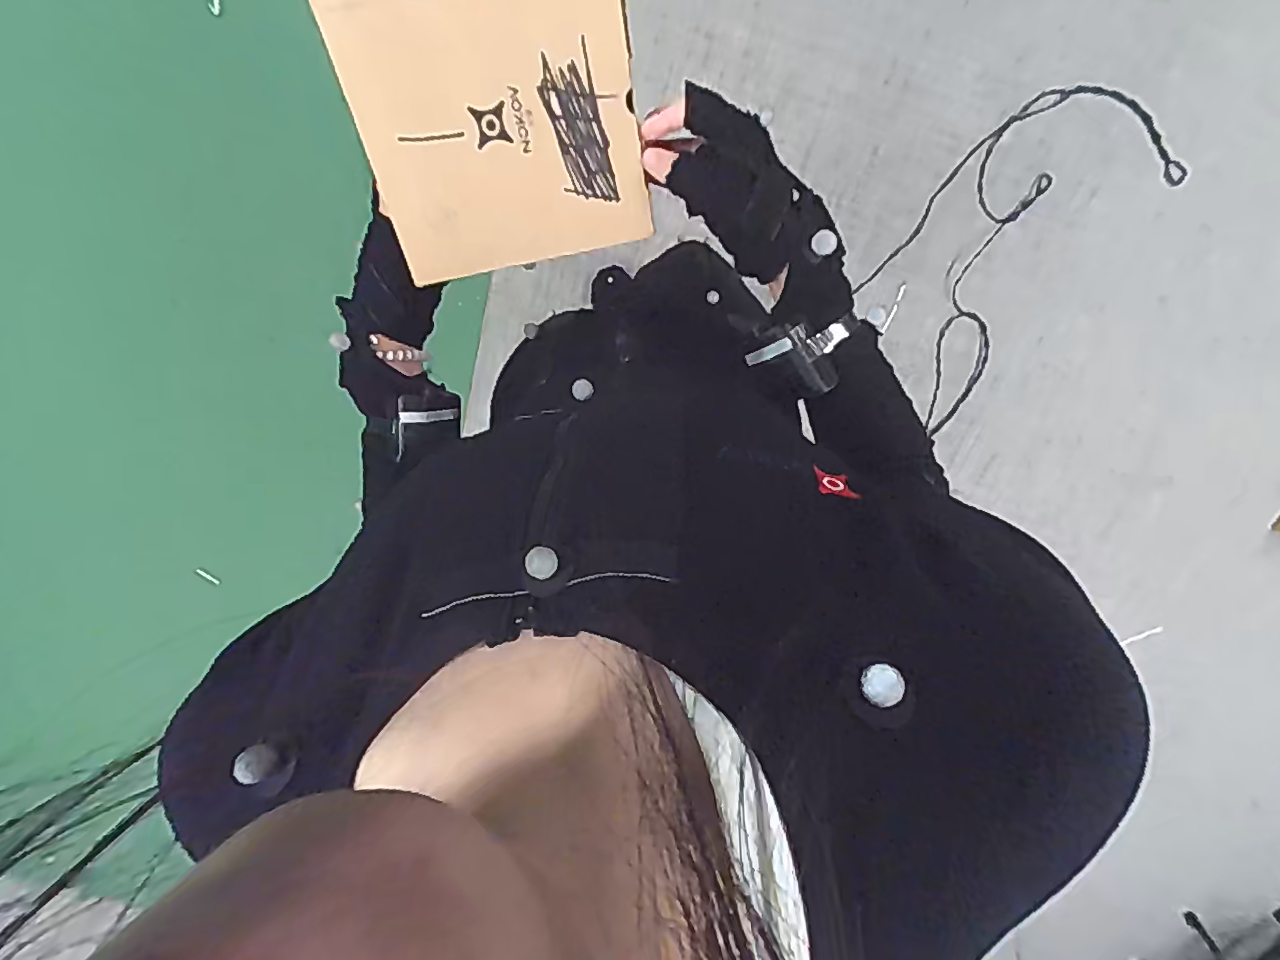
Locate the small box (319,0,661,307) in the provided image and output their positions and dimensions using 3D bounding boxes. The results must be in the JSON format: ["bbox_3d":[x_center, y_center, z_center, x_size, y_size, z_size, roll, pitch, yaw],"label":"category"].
[{"bbox_3d":[-0.096,-0.247,0.407,0.179,0.176,0.168,-14,122,-5],"label":"small box"}]
